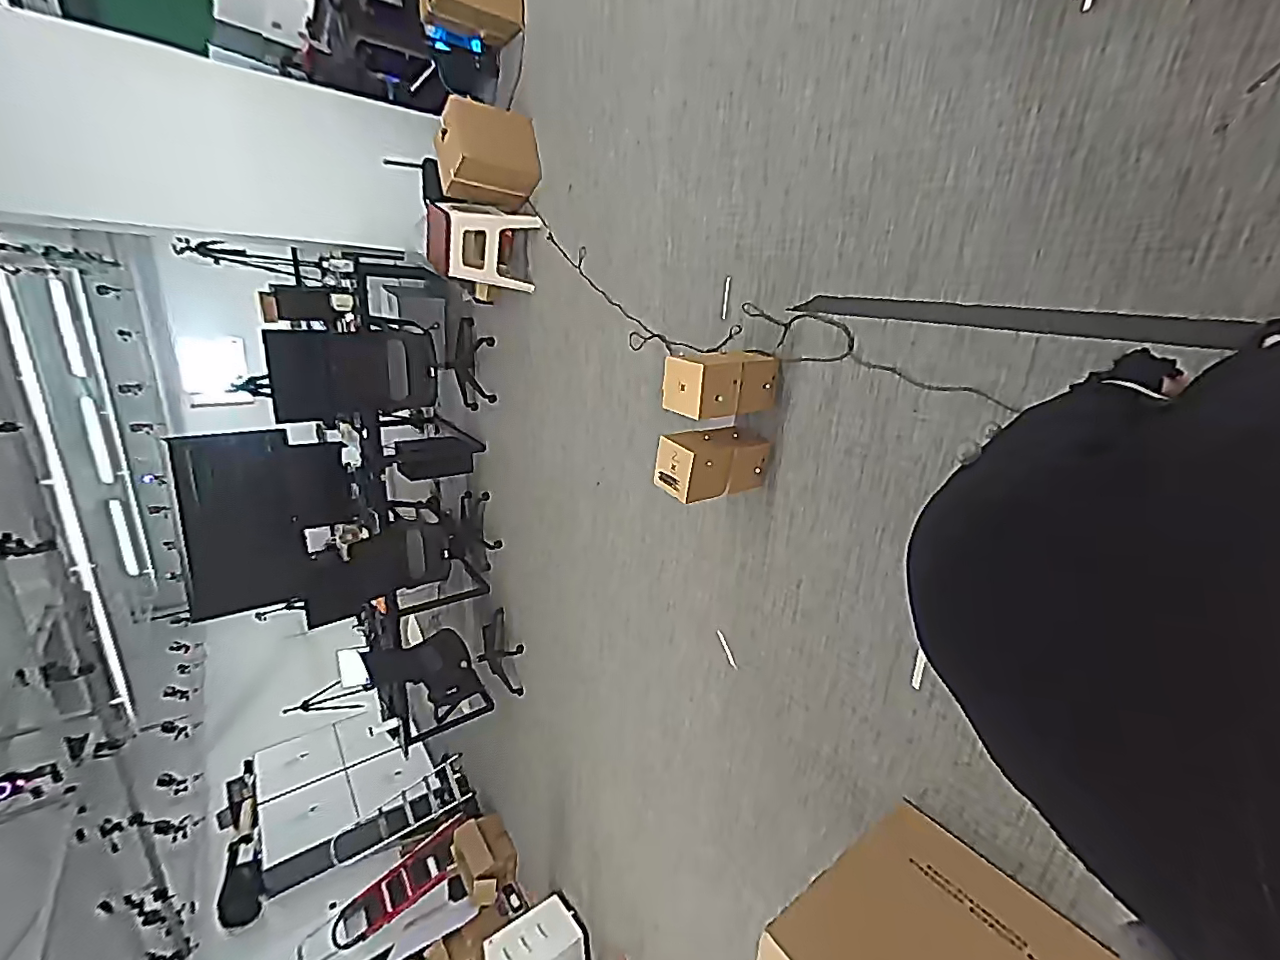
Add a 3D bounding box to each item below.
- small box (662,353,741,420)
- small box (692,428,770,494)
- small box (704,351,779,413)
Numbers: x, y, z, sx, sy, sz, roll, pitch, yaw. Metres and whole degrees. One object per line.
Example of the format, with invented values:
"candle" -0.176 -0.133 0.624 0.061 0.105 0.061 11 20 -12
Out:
"small box" 0.188 -0.292 1.647 0.179 0.176 0.168 28 122 48
"small box" 0.307 -0.071 1.825 0.179 0.176 0.168 34 125 44
"small box" 0.318 -0.322 1.740 0.179 0.176 0.168 28 123 47
